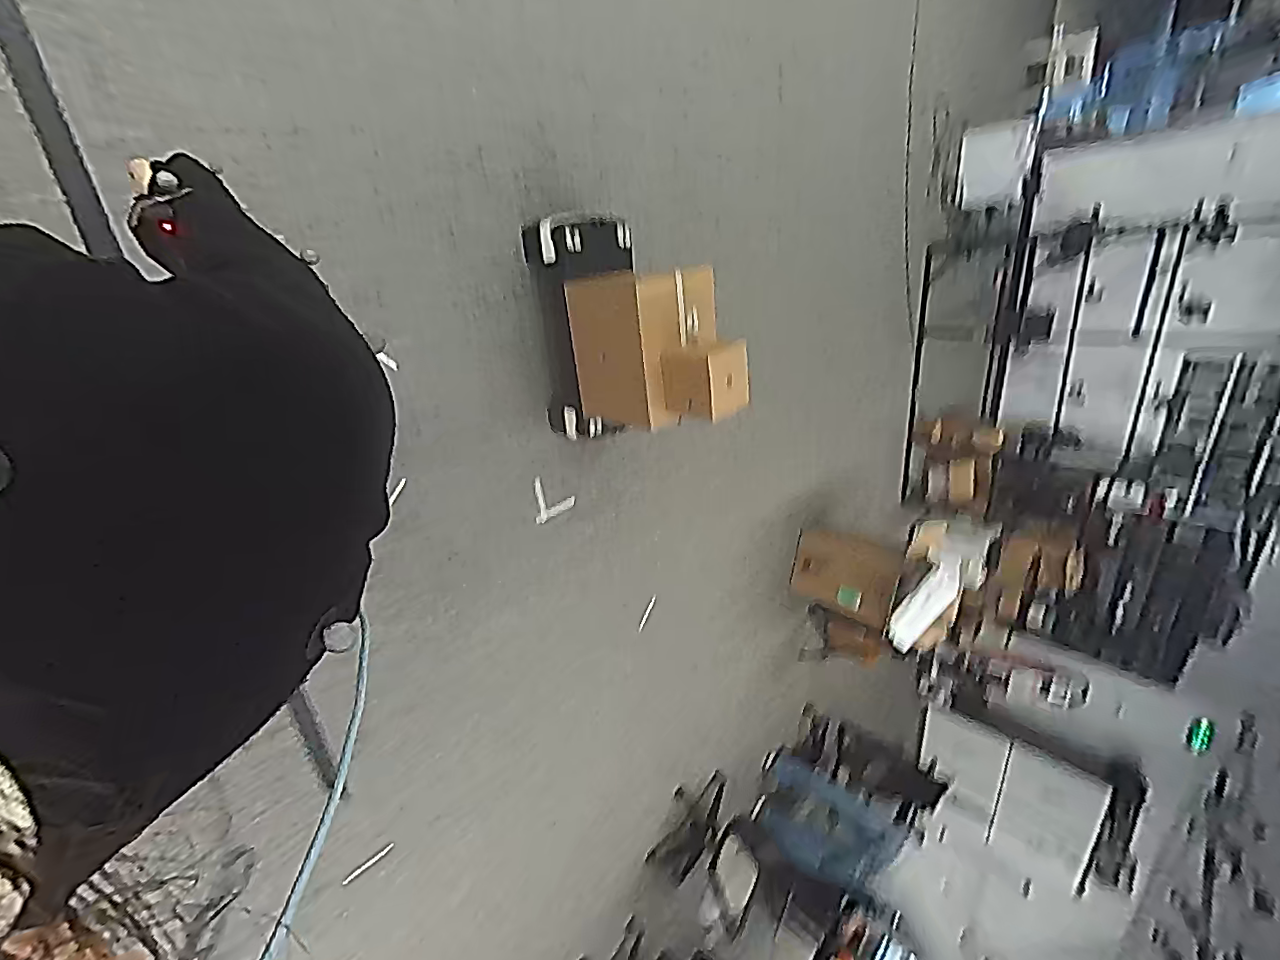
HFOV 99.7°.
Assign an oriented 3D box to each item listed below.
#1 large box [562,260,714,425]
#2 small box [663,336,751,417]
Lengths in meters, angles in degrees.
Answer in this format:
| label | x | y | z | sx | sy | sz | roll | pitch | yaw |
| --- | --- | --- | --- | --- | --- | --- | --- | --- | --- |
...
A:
| label | x | y | z | sx | sy | sz | roll | pitch | yaw |
| --- | --- | --- | --- | --- | --- | --- | --- | --- | --- |
| large box | 0.008 | -0.413 | 1.615 | 0.320 | 0.320 | 0.408 | -28 | 120 | -38 |
| small box | 0.184 | -0.287 | 1.474 | 0.168 | 0.176 | 0.179 | -28 | 121 | -37 |
